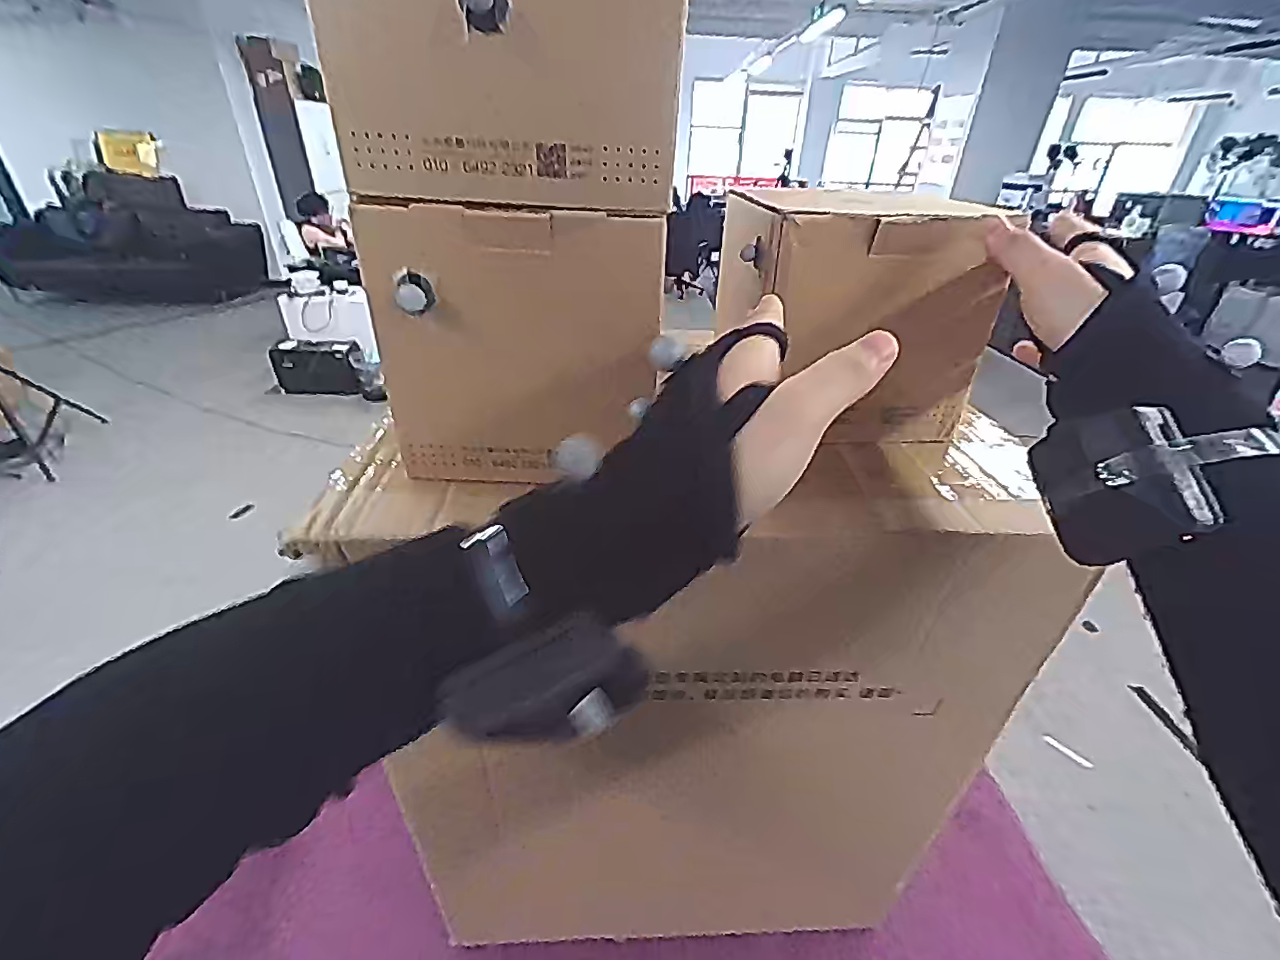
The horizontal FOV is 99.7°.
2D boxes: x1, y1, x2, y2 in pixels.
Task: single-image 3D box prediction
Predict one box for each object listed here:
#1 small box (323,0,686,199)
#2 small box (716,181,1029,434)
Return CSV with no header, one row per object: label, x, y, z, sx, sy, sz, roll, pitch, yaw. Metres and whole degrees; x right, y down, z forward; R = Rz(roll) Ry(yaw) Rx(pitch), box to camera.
small box,-0.061,-0.259,0.303,0.168,0.176,0.179,2,31,-3
small box,0.165,-0.151,0.457,0.168,0.176,0.179,-2,33,-4
